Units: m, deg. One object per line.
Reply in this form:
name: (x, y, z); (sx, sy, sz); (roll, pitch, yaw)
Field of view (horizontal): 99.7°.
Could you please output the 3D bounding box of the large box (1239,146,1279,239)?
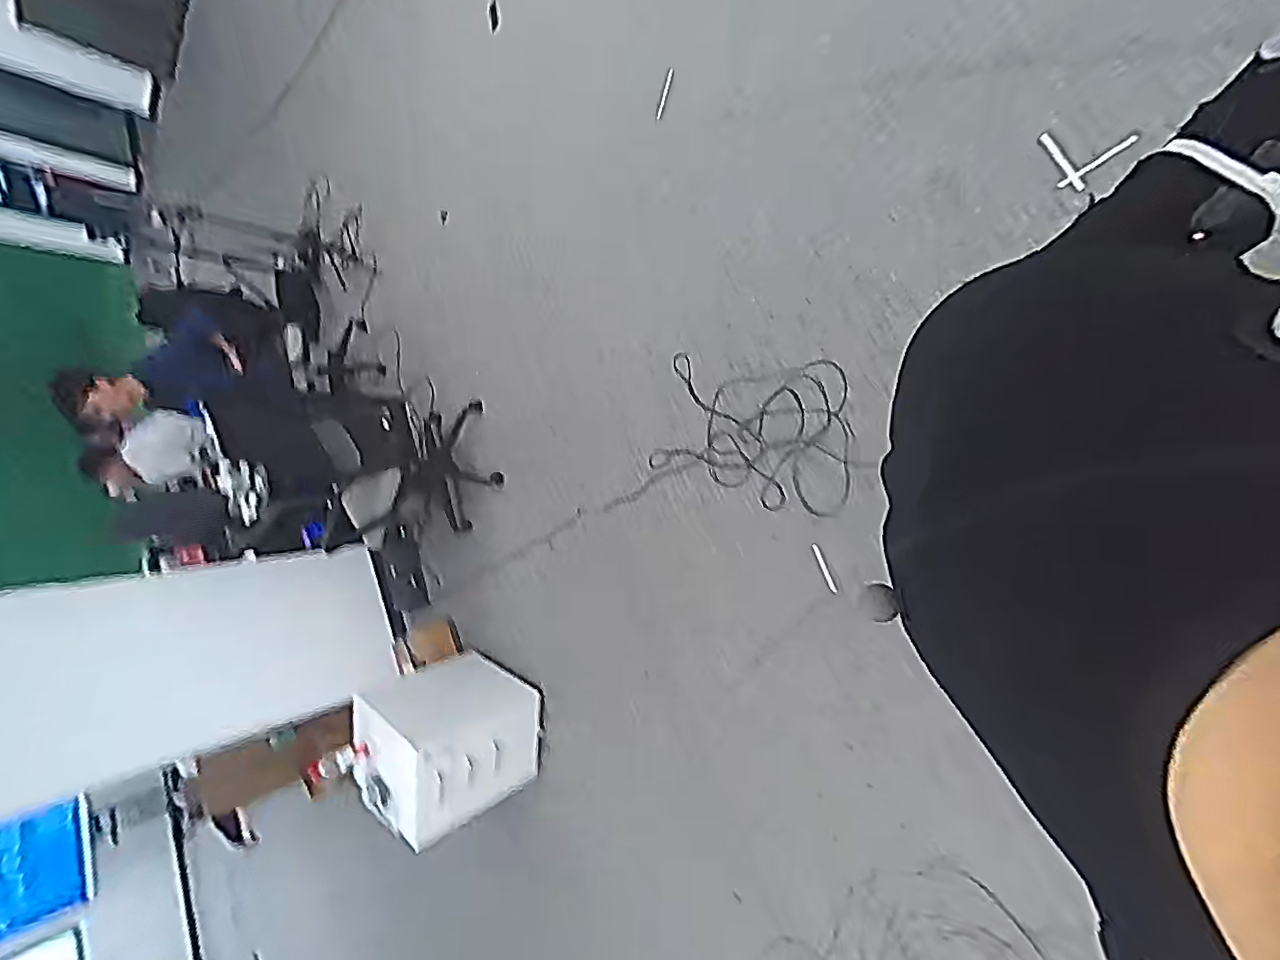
large box: (0.712, -0.207, 0.317); (0.408, 0.320, 0.320); (52, 137, 20)
